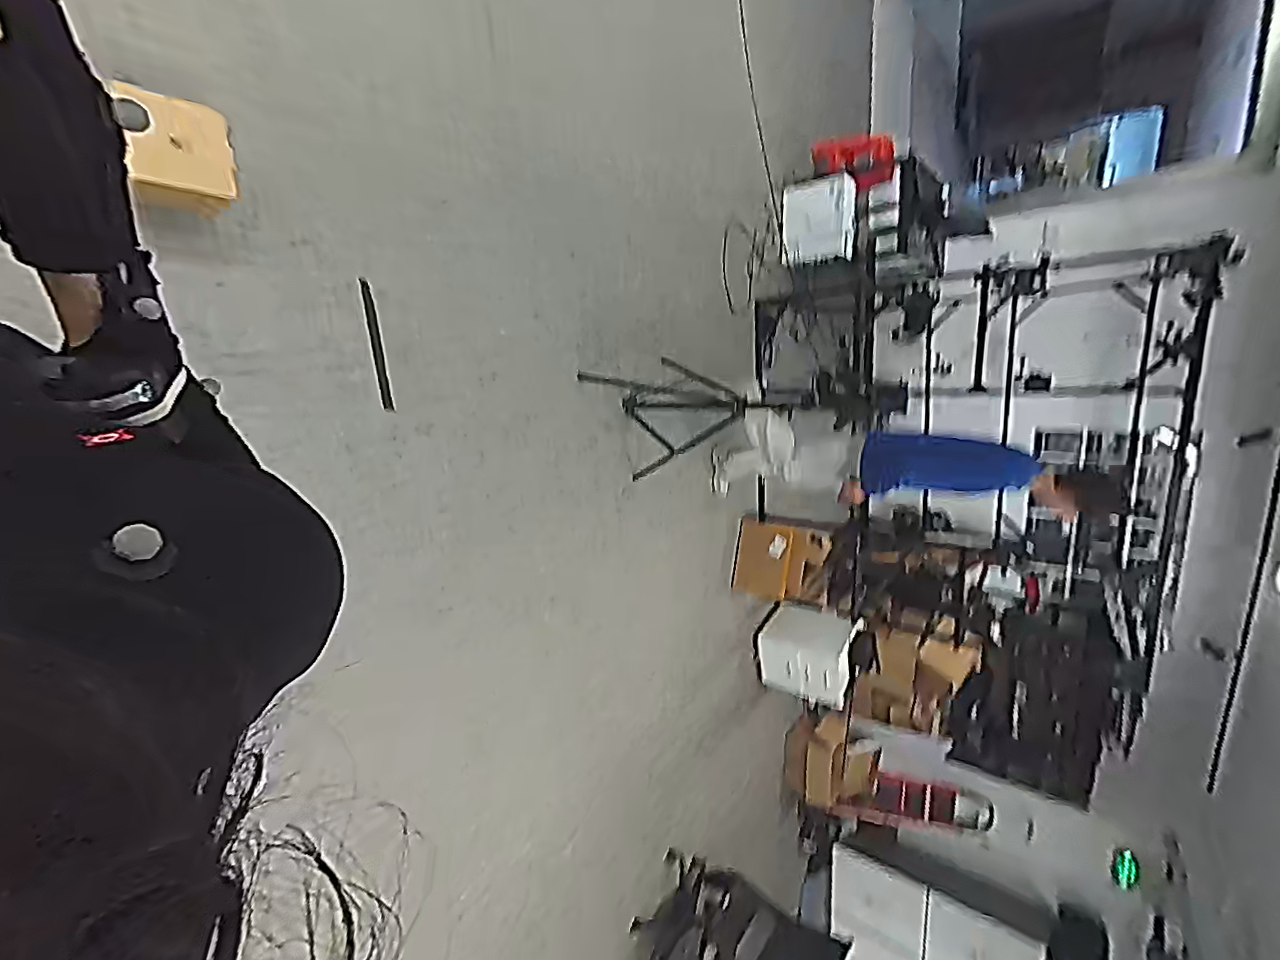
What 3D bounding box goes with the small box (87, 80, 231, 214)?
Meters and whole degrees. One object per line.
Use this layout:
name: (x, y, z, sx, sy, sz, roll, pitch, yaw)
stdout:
small box: (-0.969, -0.655, 1.092, 0.179, 0.176, 0.168, -14, 105, -51)
